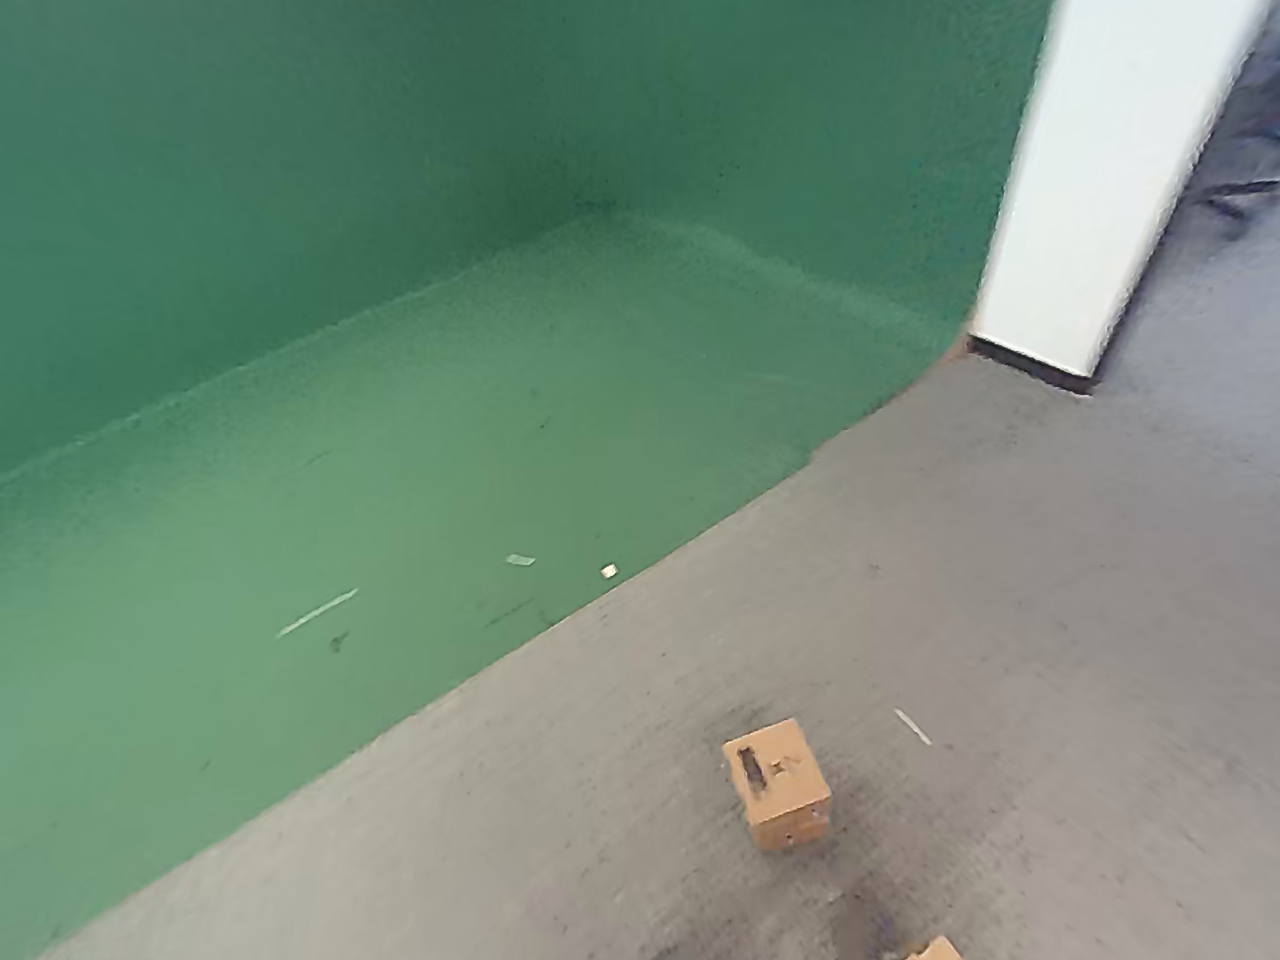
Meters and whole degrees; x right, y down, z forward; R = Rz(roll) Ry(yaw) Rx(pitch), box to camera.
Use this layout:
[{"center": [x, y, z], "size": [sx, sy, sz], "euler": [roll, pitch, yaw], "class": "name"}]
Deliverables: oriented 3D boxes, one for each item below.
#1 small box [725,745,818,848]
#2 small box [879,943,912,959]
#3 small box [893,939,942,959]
[{"center": [0.313, 0.764, 1.300], "size": [0.179, 0.176, 0.168], "euler": [-13, 47, 2], "class": "small box"}, {"center": [0.492, 1.024, 1.021], "size": [0.179, 0.176, 0.168], "euler": [-28, 48, -12], "class": "small box"}, {"center": [0.468, 0.917, 0.898], "size": [0.168, 0.176, 0.179], "euler": [-27, 47, -10], "class": "small box"}]
